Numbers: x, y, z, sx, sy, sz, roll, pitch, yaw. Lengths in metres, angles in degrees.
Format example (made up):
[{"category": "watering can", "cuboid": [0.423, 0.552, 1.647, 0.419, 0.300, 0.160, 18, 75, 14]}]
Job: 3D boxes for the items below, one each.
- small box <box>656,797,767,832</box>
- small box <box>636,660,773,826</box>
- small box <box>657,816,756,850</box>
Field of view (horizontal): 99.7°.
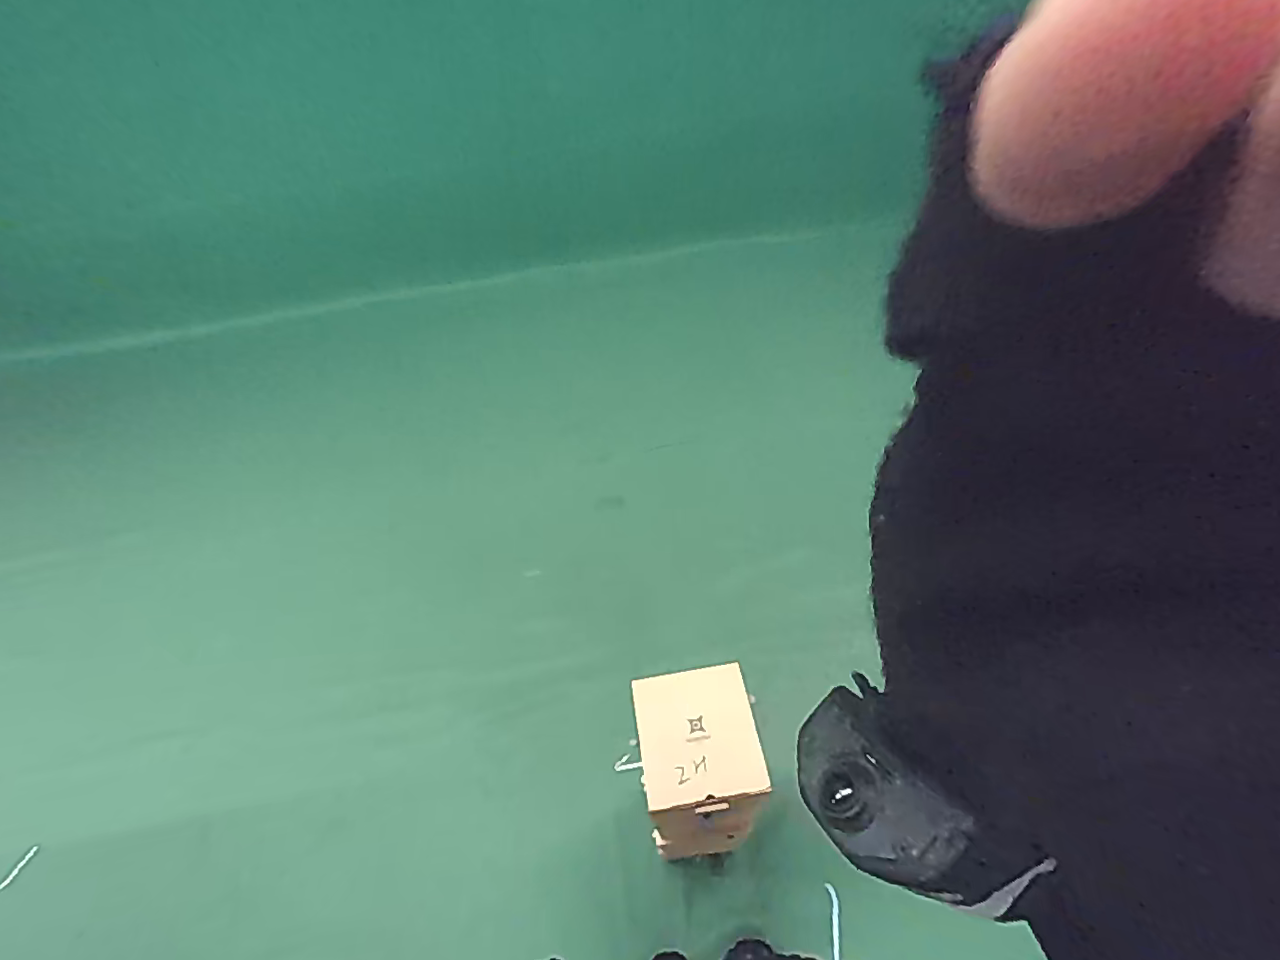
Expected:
[{"category": "small box", "cuboid": [0.109, 0.500, 0.946, 0.179, 0.176, 0.168, -8, 49, -1]}, {"category": "small box", "cuboid": [0.089, 0.400, 0.819, 0.168, 0.176, 0.179, -9, 50, -1]}, {"category": "small box", "cuboid": [0.119, 0.615, 1.067, 0.179, 0.176, 0.168, -9, 51, -2]}]
